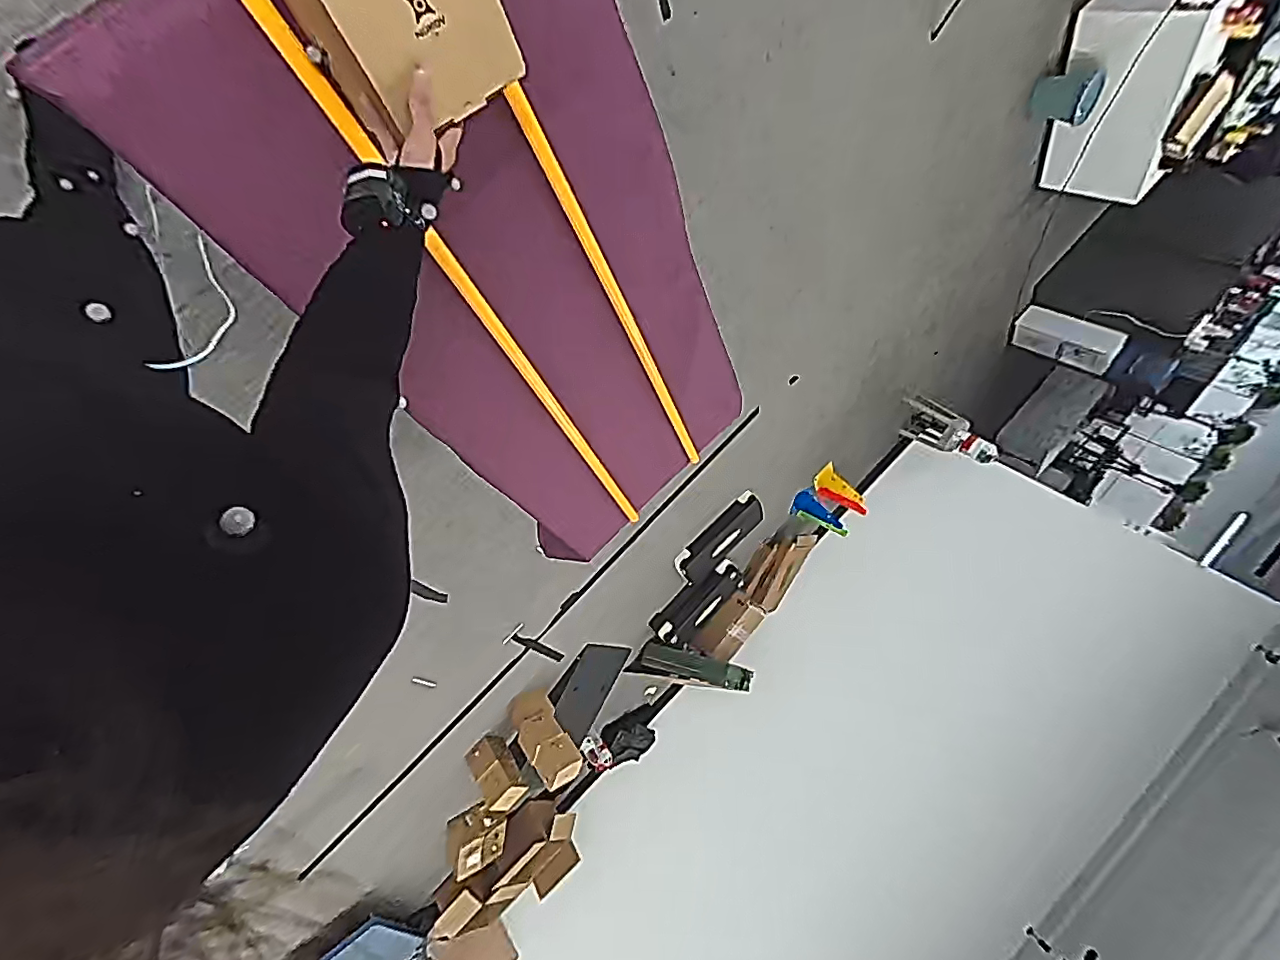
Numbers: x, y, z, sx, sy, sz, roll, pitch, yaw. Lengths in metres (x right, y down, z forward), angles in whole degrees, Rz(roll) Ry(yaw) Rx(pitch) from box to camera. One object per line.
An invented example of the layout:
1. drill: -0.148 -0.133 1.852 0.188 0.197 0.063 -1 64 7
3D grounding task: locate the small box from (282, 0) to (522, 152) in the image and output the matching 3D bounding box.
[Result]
1. small box: -0.264 -0.499 0.583 0.168 0.176 0.179 -40 144 -11
